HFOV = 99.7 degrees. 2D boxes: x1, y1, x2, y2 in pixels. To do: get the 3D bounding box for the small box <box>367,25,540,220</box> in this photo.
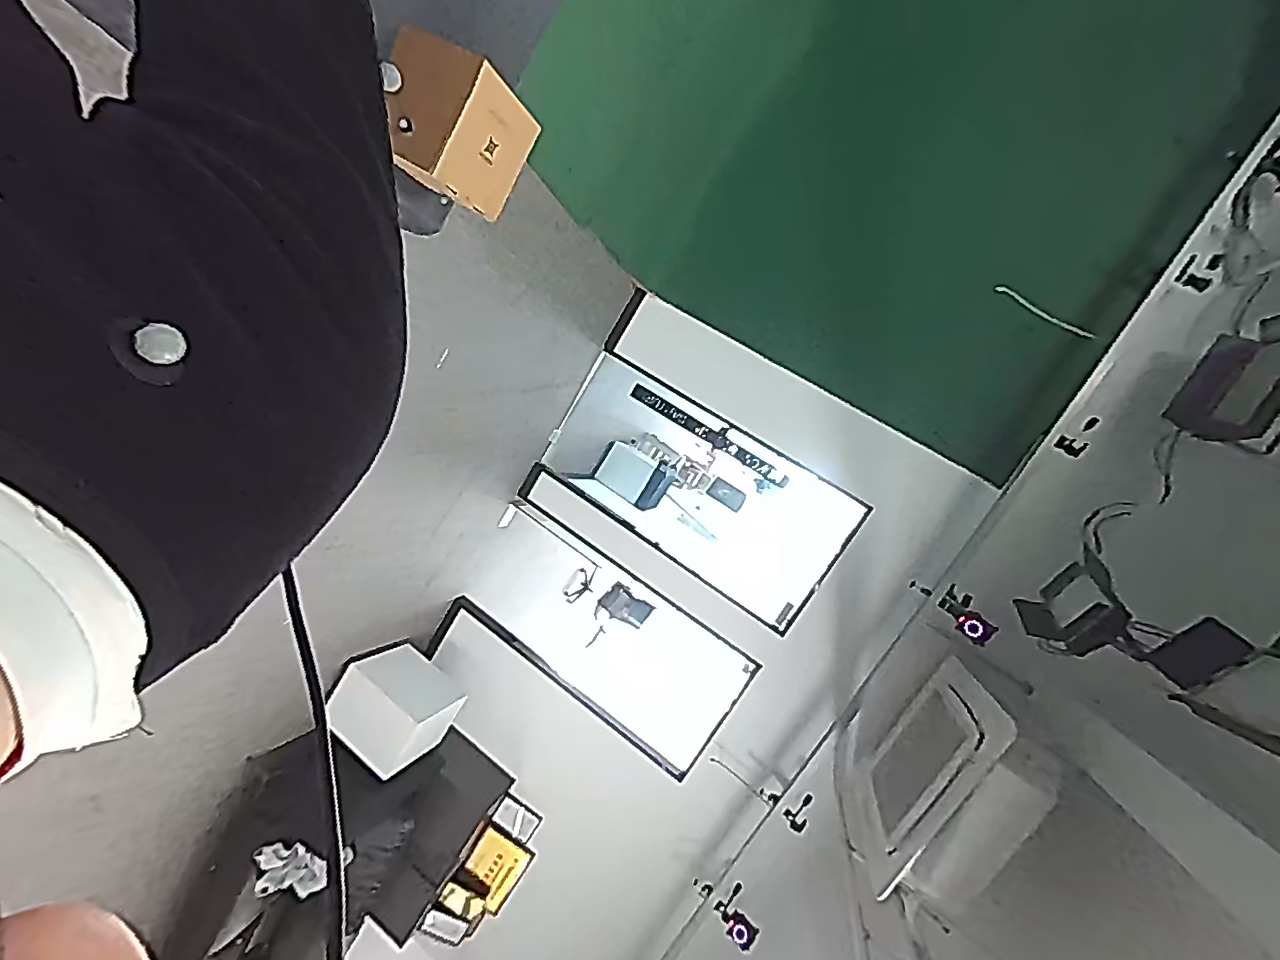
[{"bbox_3d":[-0.300,-0.566,0.869,0.179,0.176,0.168,-60,166,10],"label":"small box"}]
